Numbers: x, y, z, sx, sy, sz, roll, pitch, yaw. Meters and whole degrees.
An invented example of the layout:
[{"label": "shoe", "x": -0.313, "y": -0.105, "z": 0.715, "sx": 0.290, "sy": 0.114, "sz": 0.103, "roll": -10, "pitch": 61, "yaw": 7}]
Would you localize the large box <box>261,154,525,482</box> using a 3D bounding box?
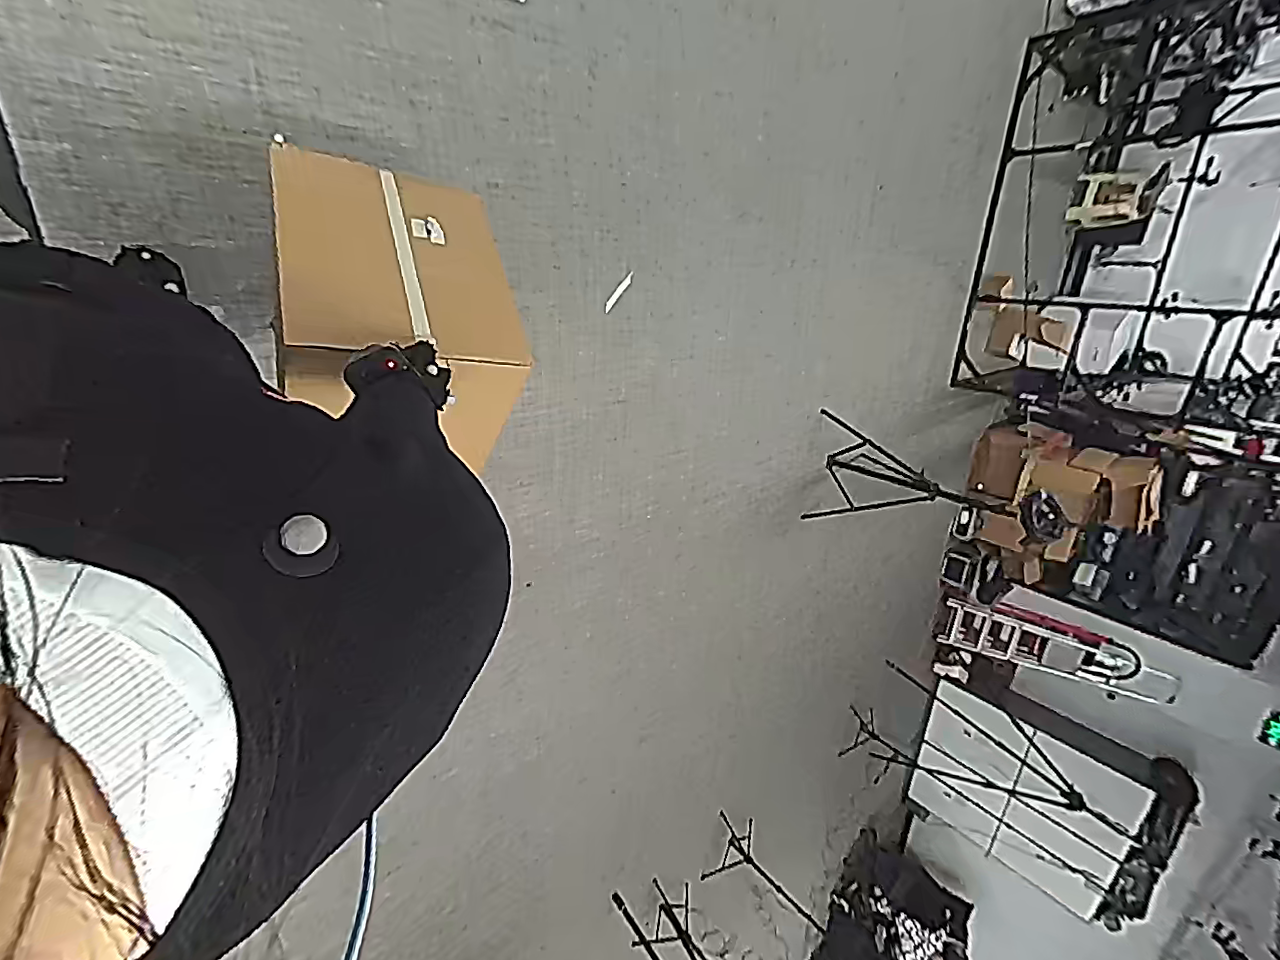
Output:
[{"label": "large box", "x": -0.436, "y": -0.250, "z": 0.916, "sx": 0.320, "sy": 0.408, "sz": 0.320, "roll": -3, "pitch": 149, "yaw": -37}]
